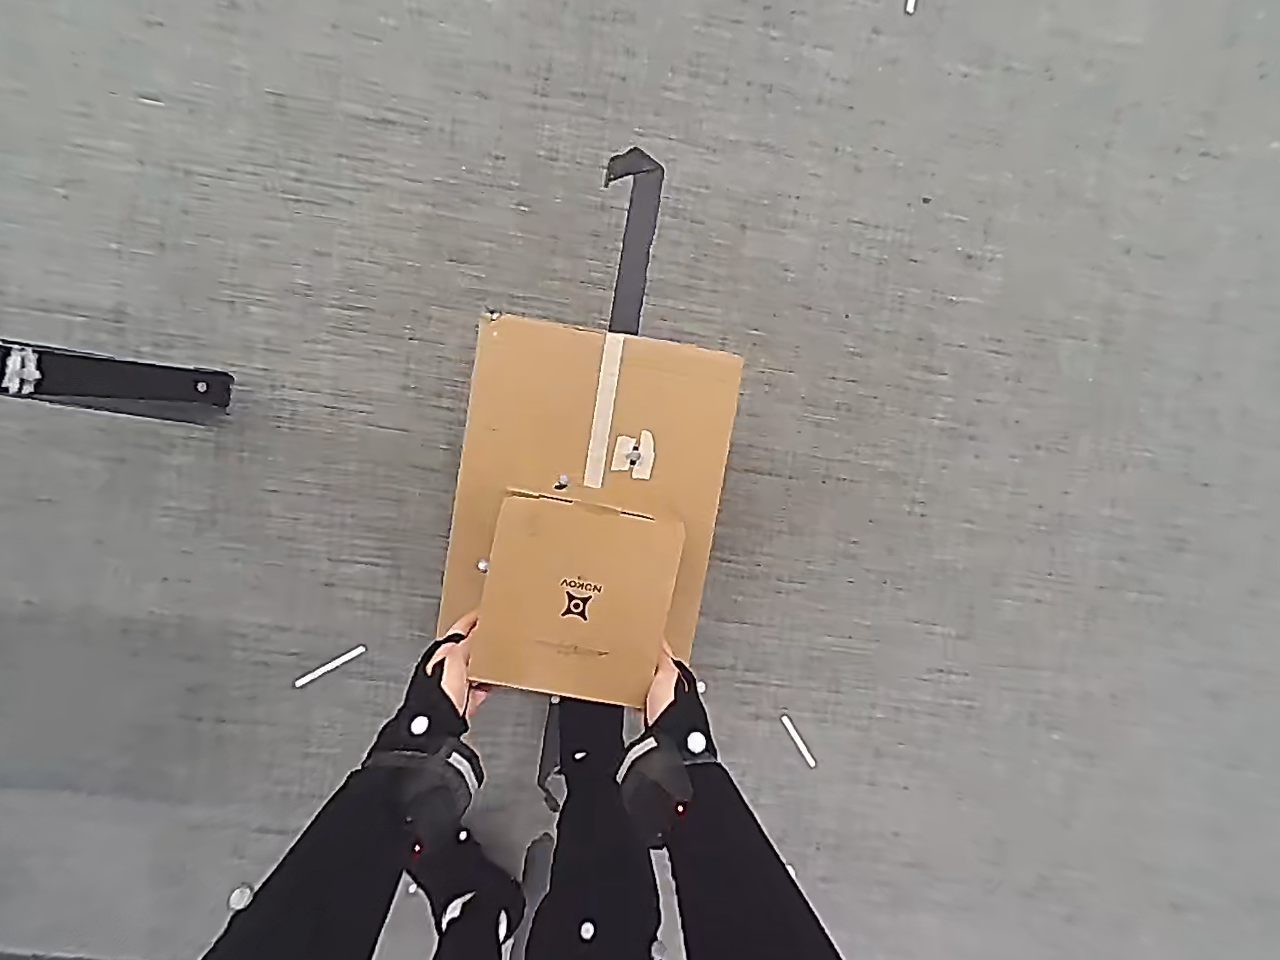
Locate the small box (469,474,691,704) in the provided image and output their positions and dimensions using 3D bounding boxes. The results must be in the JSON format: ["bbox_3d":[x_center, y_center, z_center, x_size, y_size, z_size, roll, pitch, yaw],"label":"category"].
[{"bbox_3d":[-0.060,0.095,0.553,0.168,0.176,0.179,13,93,-6],"label":"small box"}]

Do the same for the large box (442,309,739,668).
[{"bbox_3d":[-0.067,0.008,0.796,0.320,0.320,0.408,9,94,-4],"label":"large box"}]
